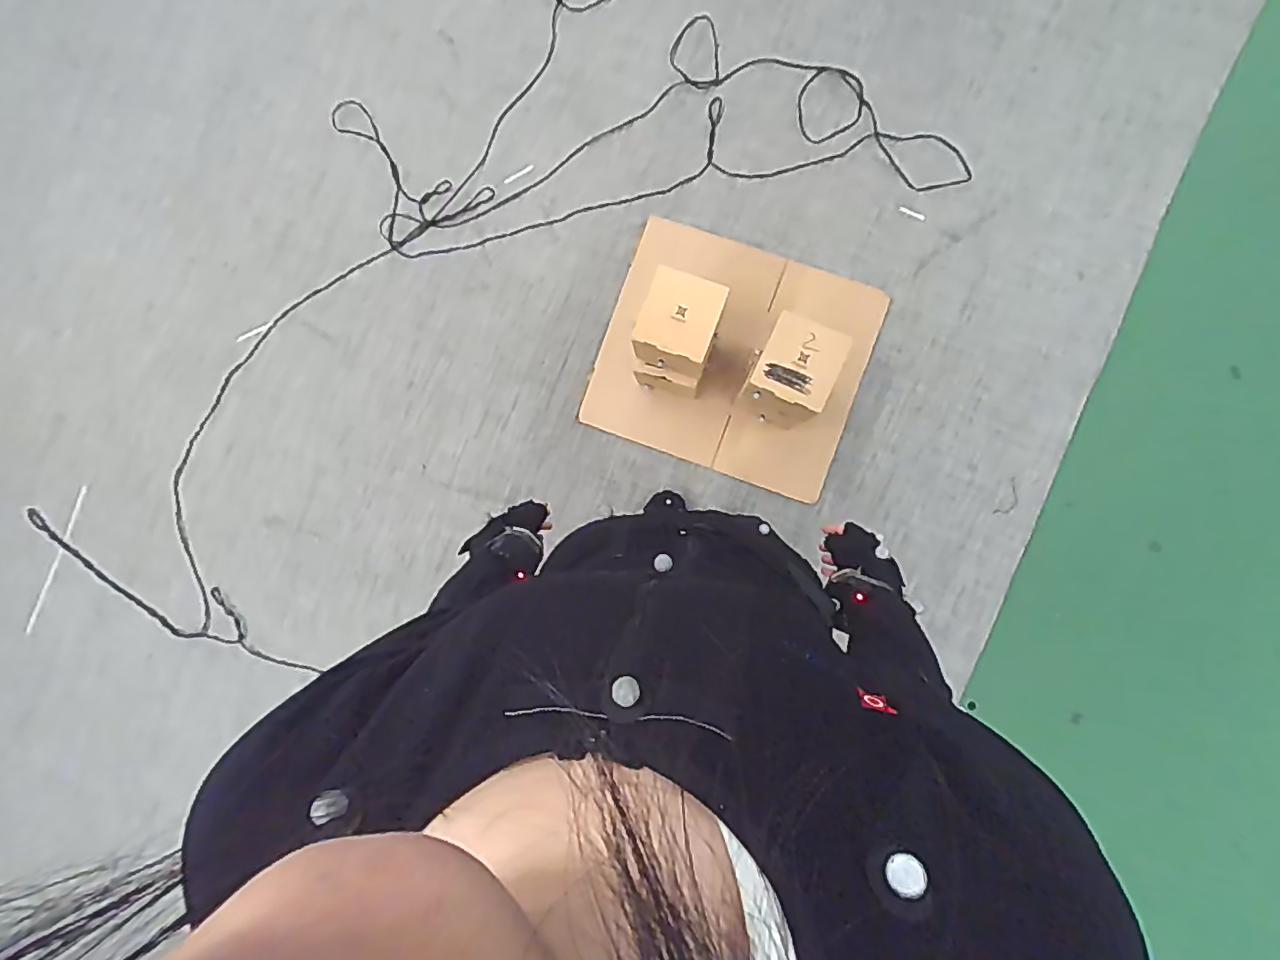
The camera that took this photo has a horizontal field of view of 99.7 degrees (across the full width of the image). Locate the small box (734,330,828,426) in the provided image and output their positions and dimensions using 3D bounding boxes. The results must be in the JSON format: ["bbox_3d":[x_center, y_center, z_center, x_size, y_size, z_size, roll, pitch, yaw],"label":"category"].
[{"bbox_3d":[0.352,-0.254,1.385,0.168,0.176,0.179,25,92,5],"label":"small box"}]

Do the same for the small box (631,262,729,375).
[{"bbox_3d":[0.089,-0.361,1.238,0.168,0.176,0.179,21,90,4],"label":"small box"}]

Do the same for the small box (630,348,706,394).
[{"bbox_3d":[0.085,-0.334,1.401,0.168,0.176,0.179,18,90,4],"label":"small box"}]
